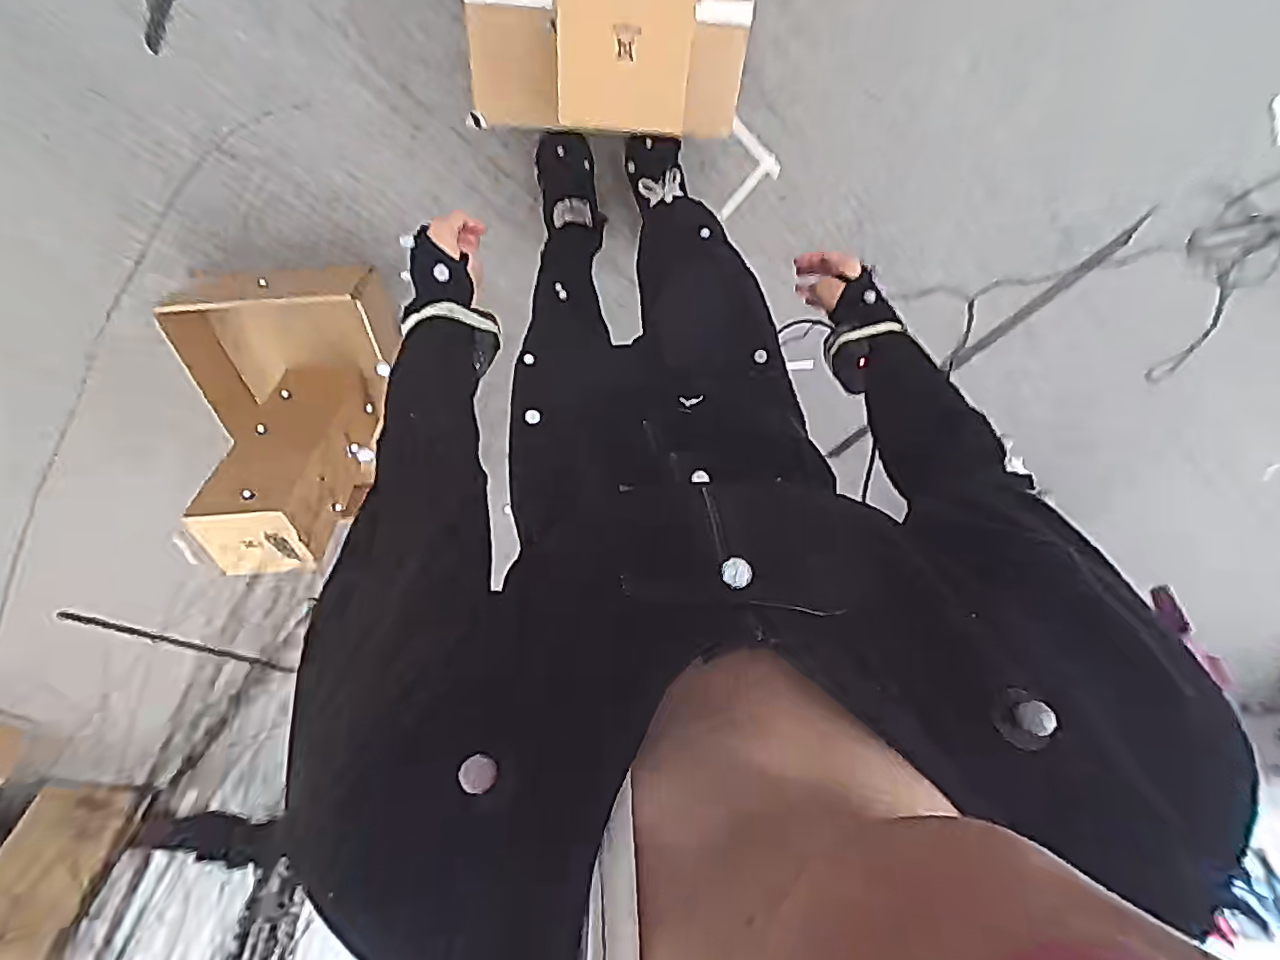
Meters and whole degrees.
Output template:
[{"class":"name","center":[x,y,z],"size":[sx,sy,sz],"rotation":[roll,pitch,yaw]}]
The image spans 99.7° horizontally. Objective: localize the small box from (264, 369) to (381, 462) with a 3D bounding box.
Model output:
[{"class":"small box","center":[-0.754,-0.155,1.306],"size":[0.179,0.176,0.168],"rotation":[-3,132,-7]}]

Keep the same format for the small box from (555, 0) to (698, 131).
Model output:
[{"class":"small box","center":[-0.026,-0.582,0.710],"size":[0.168,0.176,0.179],"rotation":[-2,131,-9]}]

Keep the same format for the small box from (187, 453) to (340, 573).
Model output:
[{"class":"small box","center":[-0.718,0.061,1.063],"size":[0.179,0.176,0.168],"rotation":[-4,132,-4]}]

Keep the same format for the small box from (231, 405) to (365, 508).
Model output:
[{"class":"small box","center":[-0.735,-0.049,1.185],"size":[0.179,0.176,0.168],"rotation":[-5,133,-7]}]
